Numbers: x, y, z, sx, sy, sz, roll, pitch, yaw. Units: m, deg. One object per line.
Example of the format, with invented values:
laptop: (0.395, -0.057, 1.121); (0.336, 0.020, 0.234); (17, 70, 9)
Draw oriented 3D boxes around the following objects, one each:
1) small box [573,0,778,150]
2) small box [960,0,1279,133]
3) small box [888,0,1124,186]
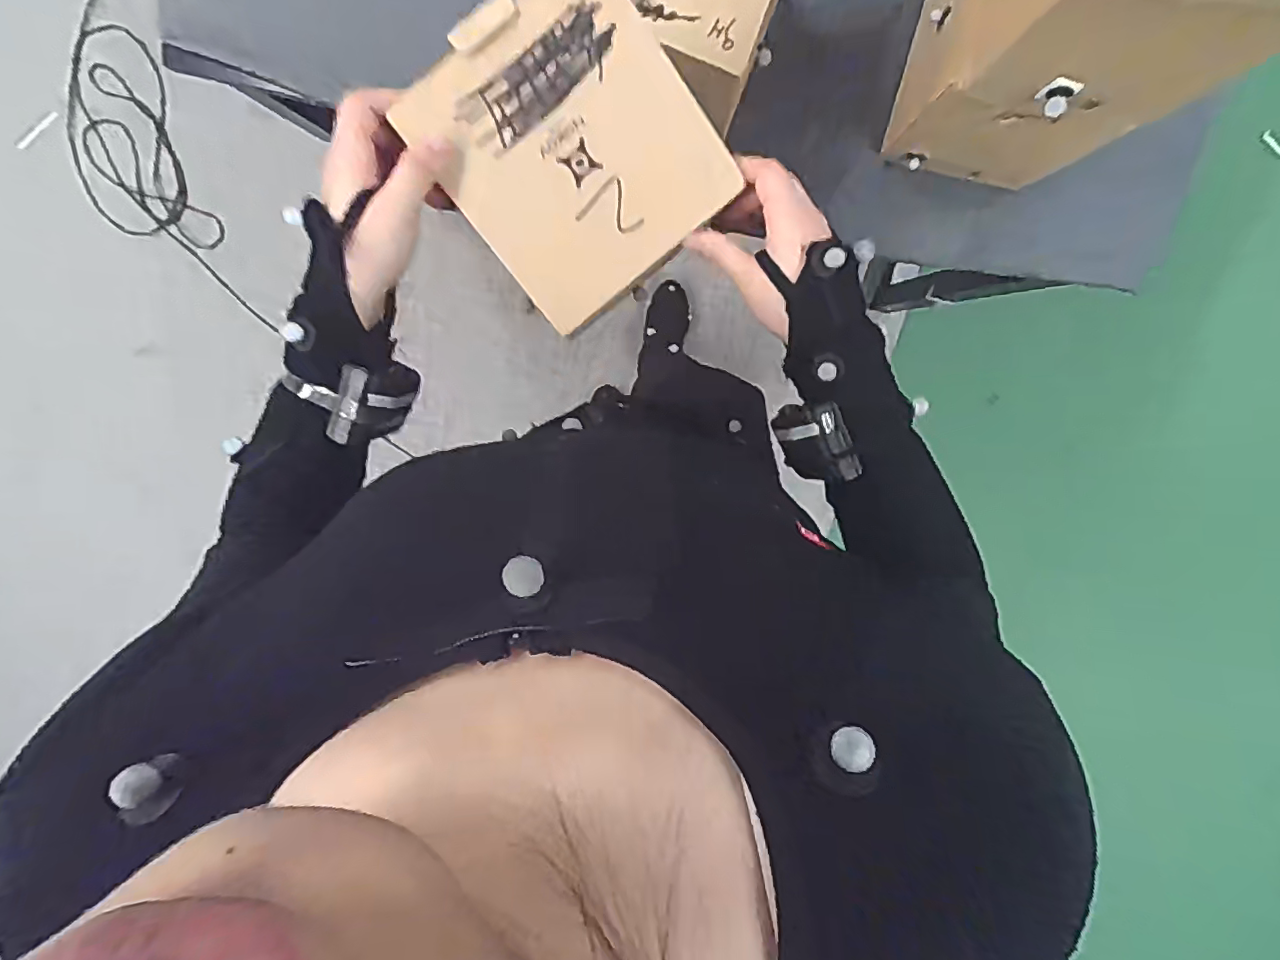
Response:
small box: (0.047, -0.475, 0.537); (0.168, 0.176, 0.179); (21, 101, -3)
small box: (0.361, -0.383, 0.377); (0.168, 0.176, 0.179); (10, 103, 1)
small box: (0.372, -0.420, 0.535); (0.168, 0.176, 0.179); (13, 101, 0)
